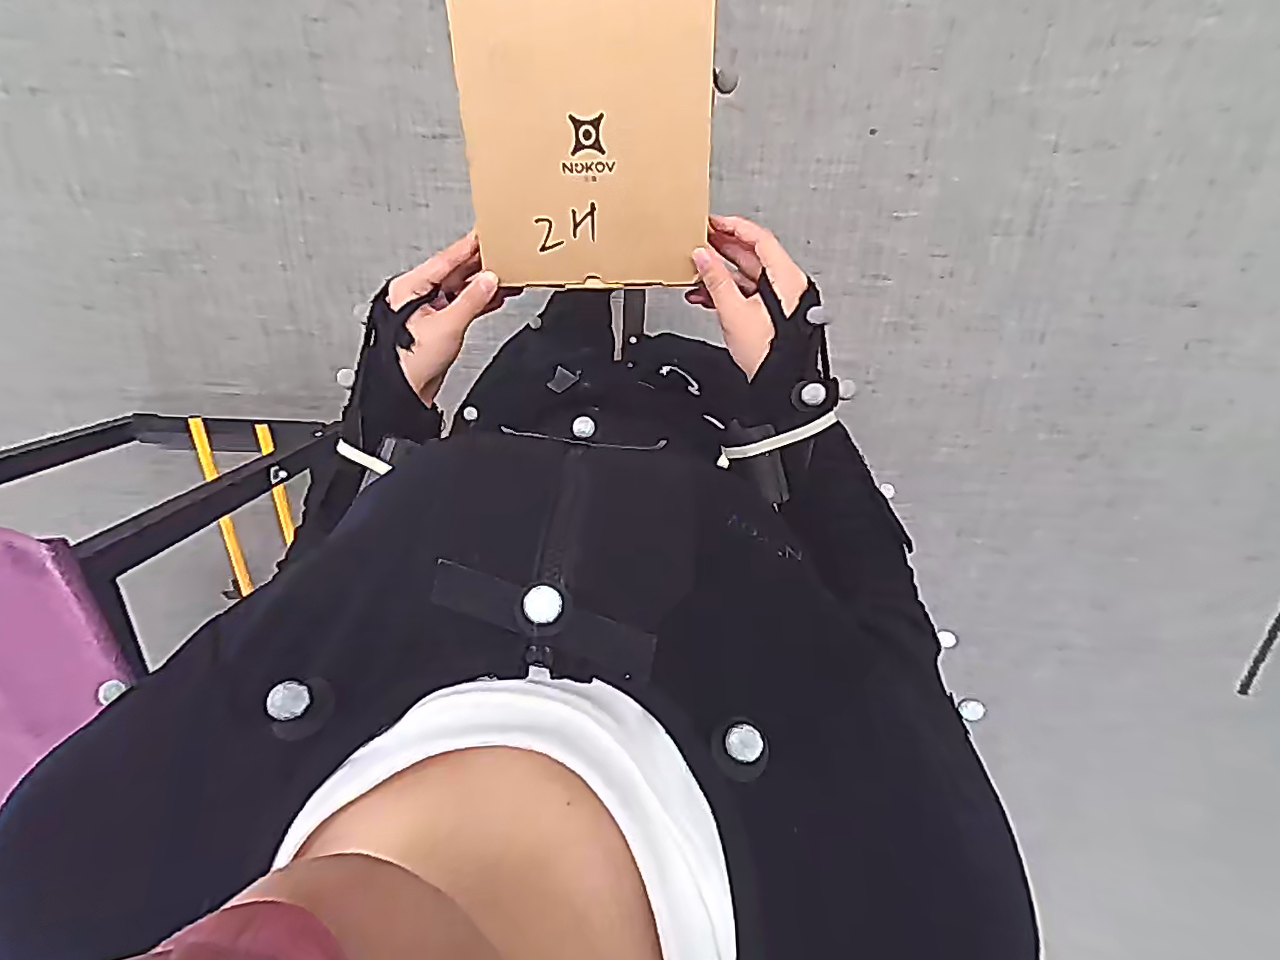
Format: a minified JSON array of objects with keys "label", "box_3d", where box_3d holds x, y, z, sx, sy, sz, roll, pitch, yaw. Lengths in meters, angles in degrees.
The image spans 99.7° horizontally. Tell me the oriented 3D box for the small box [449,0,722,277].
[{"label":"small box","box_3d":[-0.028,-0.258,0.419,0.168,0.176,0.179,2,117,4]}]
